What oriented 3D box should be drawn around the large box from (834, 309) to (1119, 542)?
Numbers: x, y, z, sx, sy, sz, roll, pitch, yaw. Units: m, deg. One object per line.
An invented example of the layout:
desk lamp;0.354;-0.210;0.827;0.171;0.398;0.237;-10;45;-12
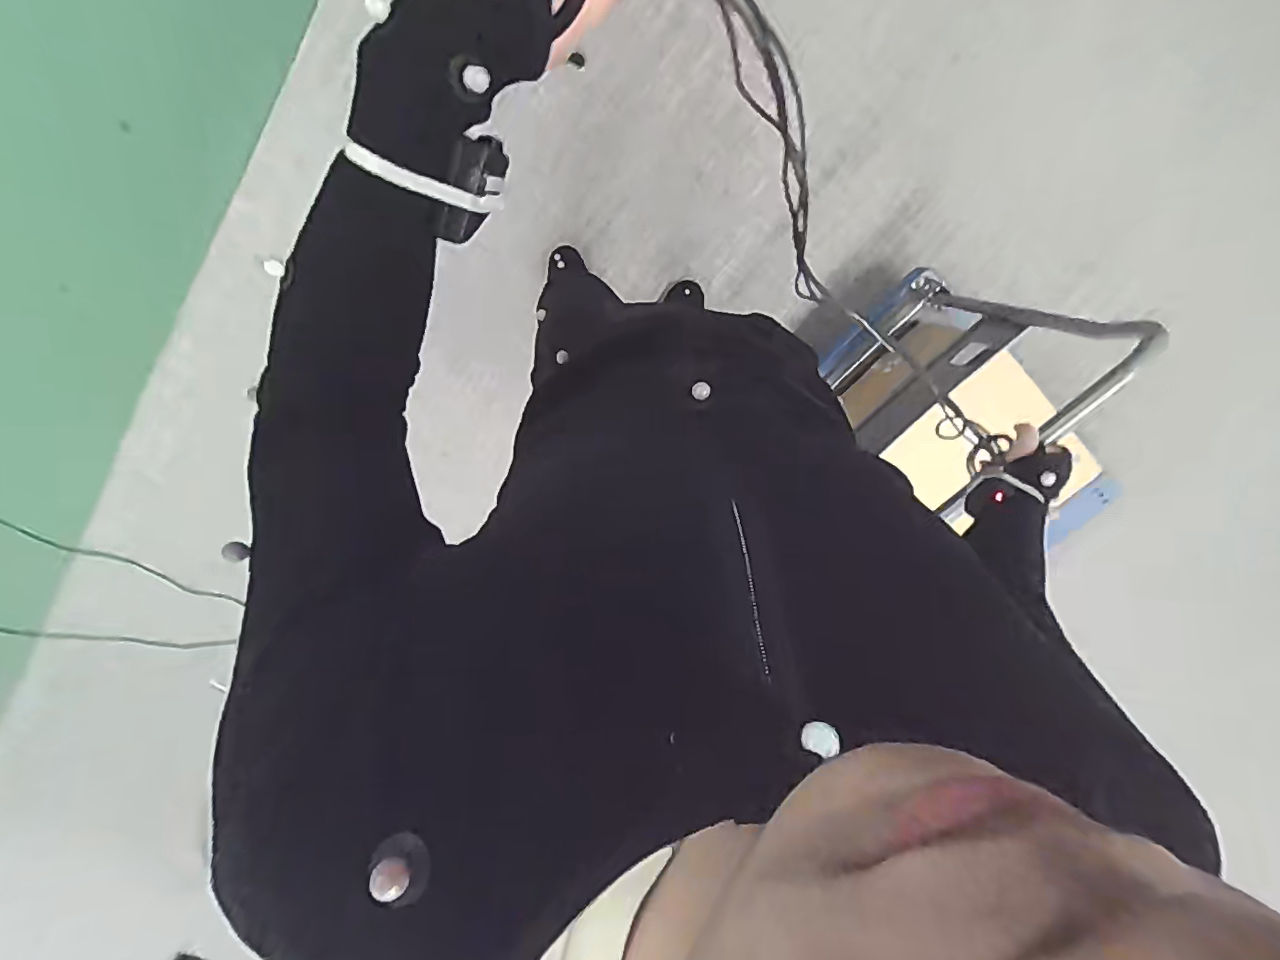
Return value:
large box;0.735;-0.140;1.245;0.408;0.320;0.320;38;108;-13
